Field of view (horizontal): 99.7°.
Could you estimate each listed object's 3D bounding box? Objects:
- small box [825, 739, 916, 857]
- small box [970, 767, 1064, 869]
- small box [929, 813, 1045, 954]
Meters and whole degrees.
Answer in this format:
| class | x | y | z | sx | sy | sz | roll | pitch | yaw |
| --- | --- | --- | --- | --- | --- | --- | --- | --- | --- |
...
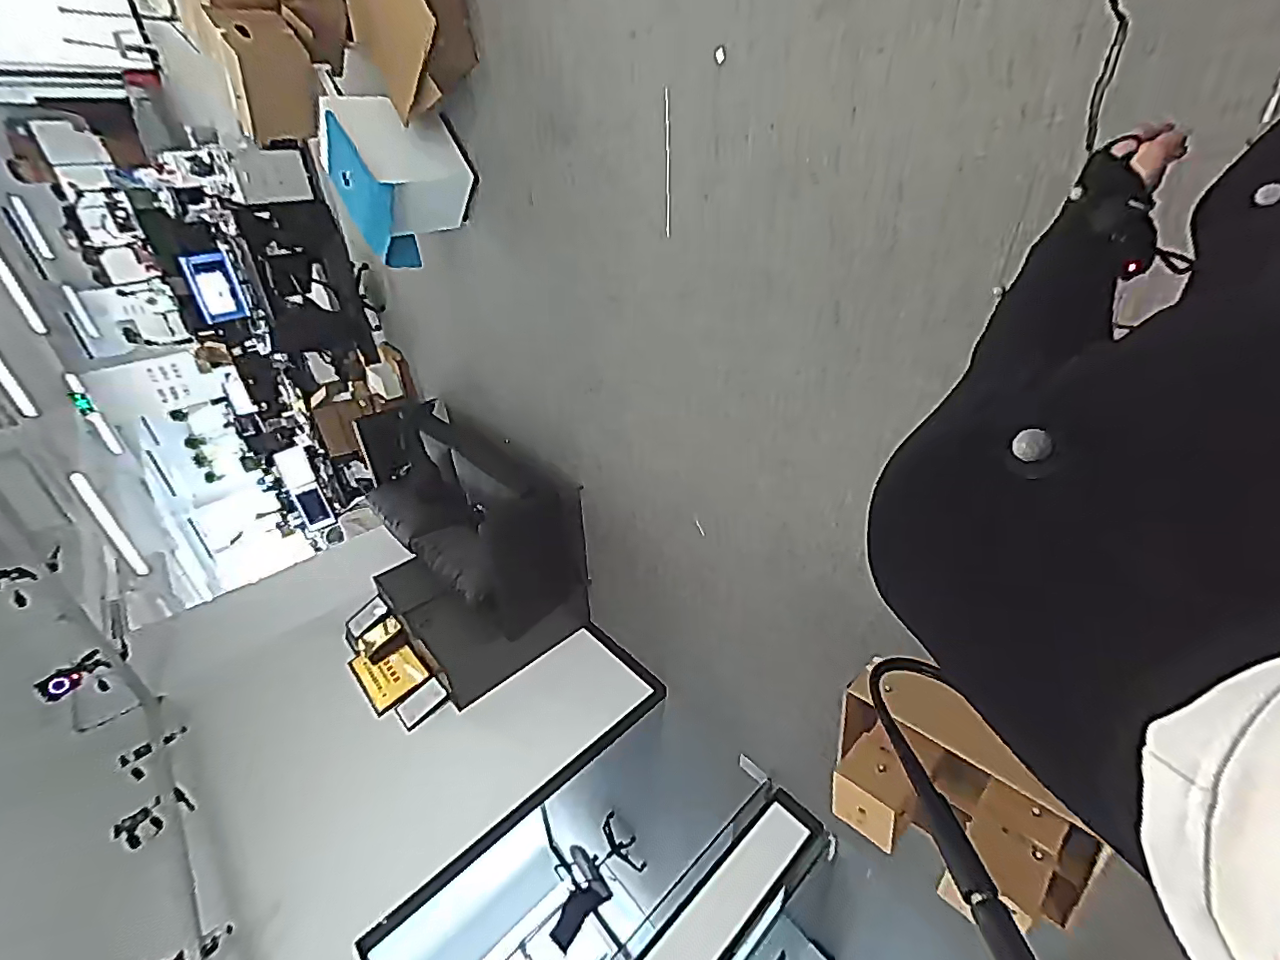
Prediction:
| class | x | y | z | sx | sy | sz | roll | pitch | yaw |
| --- | --- | --- | --- | --- | --- | --- | --- | --- | --- |
| small box | 0.618 | 0.842 | 1.450 | 0.168 | 0.176 | 0.179 | 20 | 127 | 45 |
| small box | 0.933 | 0.872 | 1.359 | 0.168 | 0.176 | 0.179 | 22 | 130 | 42 |
| small box | 0.813 | 0.934 | 1.266 | 0.168 | 0.176 | 0.179 | 27 | 133 | 40 |
